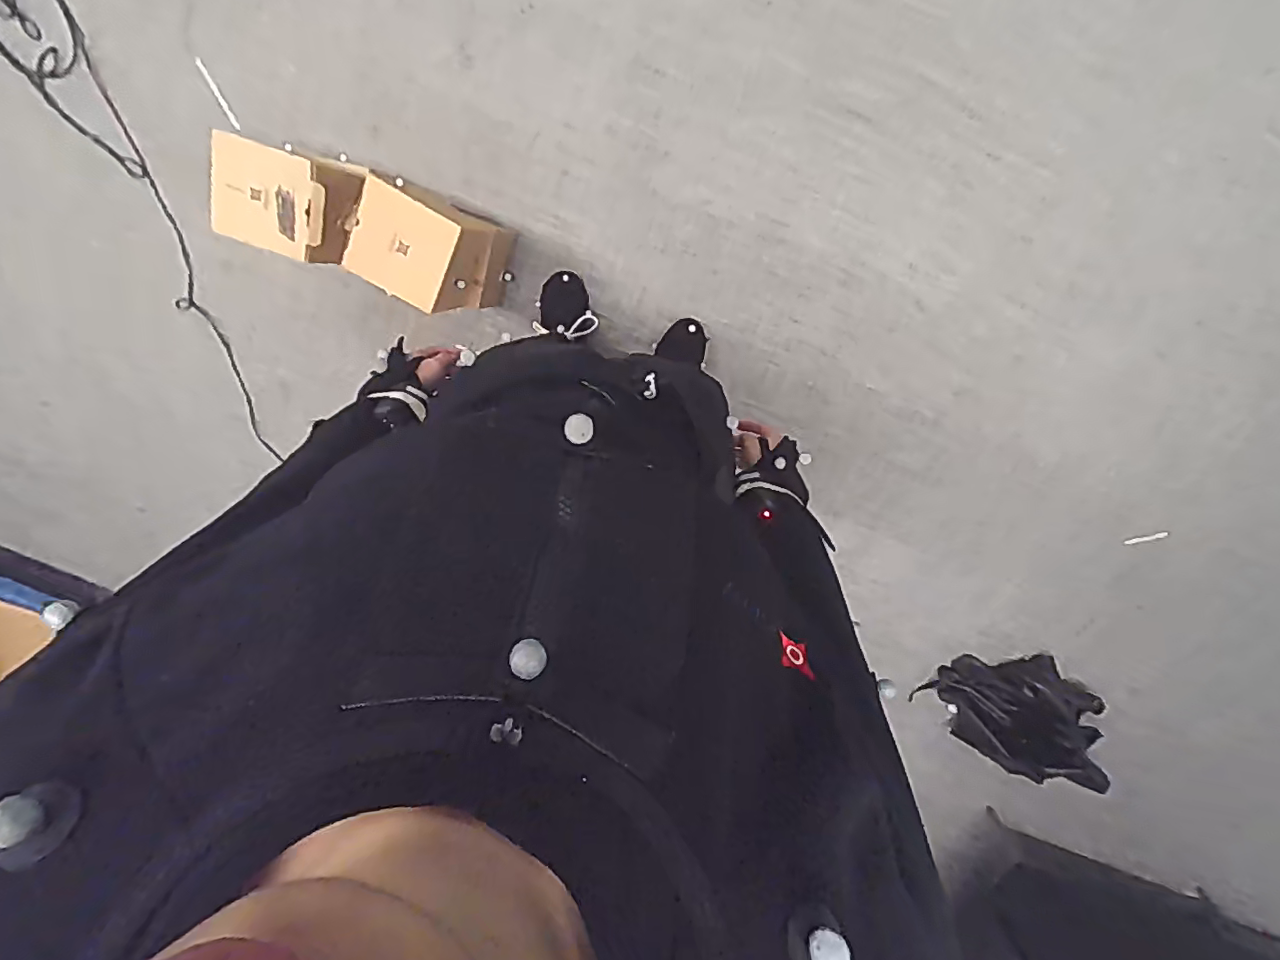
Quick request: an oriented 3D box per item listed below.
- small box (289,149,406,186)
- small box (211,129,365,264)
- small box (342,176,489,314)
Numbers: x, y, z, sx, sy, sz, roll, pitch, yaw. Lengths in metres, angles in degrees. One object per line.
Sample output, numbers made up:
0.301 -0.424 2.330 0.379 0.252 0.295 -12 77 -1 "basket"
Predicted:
-0.609 -0.567 1.141 0.168 0.176 0.179 13 112 0 "small box"
-0.633 -0.506 0.989 0.179 0.176 0.168 19 111 -2 "small box"
-0.406 -0.432 1.006 0.179 0.176 0.168 28 112 -6 "small box"
